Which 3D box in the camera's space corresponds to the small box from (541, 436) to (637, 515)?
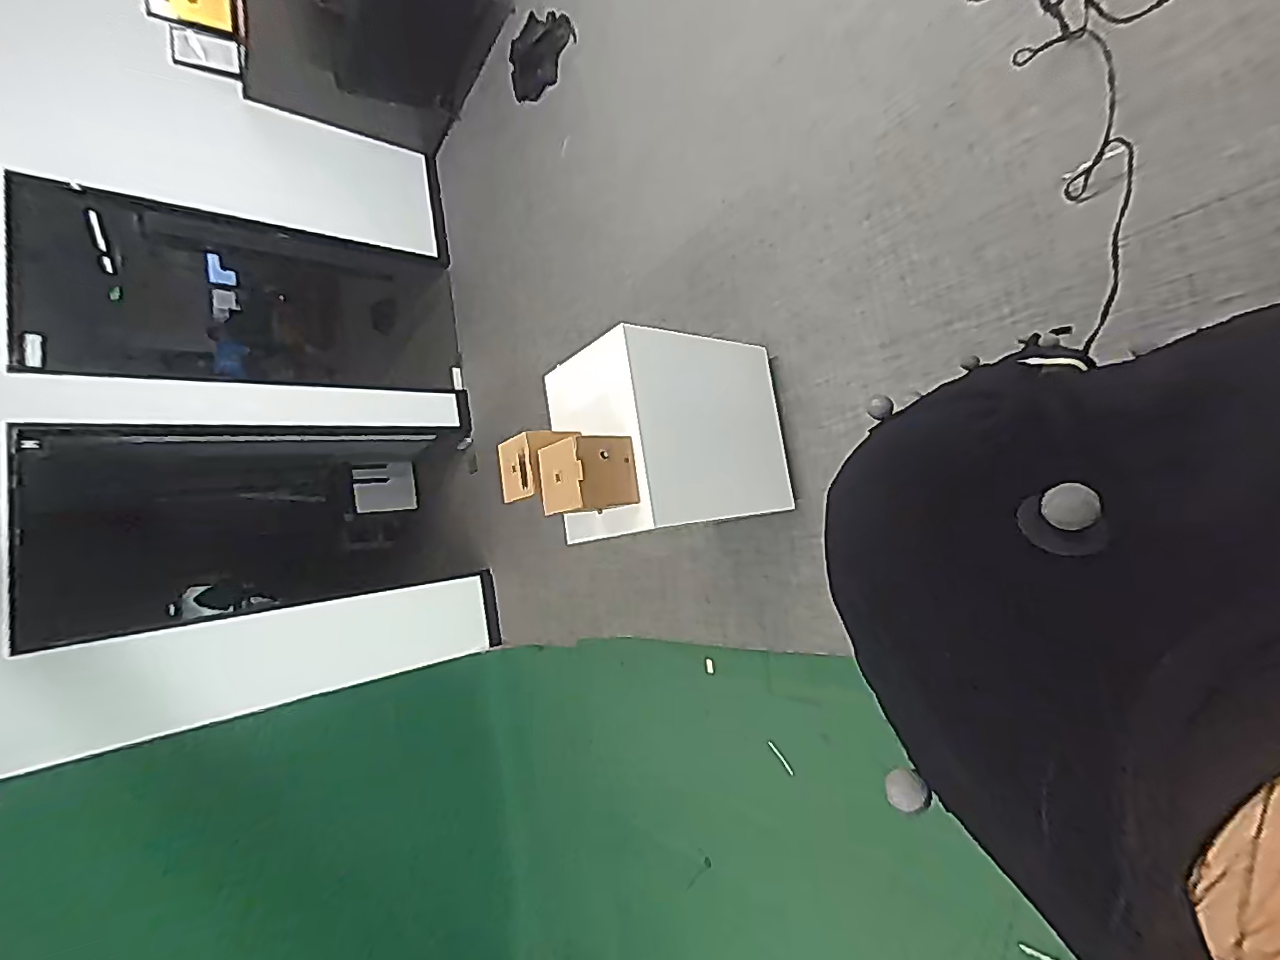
[{"bbox_3d":[-0.119,-0.010,1.304,0.179,0.176,0.168,-15,79,52],"label":"small box"}]
